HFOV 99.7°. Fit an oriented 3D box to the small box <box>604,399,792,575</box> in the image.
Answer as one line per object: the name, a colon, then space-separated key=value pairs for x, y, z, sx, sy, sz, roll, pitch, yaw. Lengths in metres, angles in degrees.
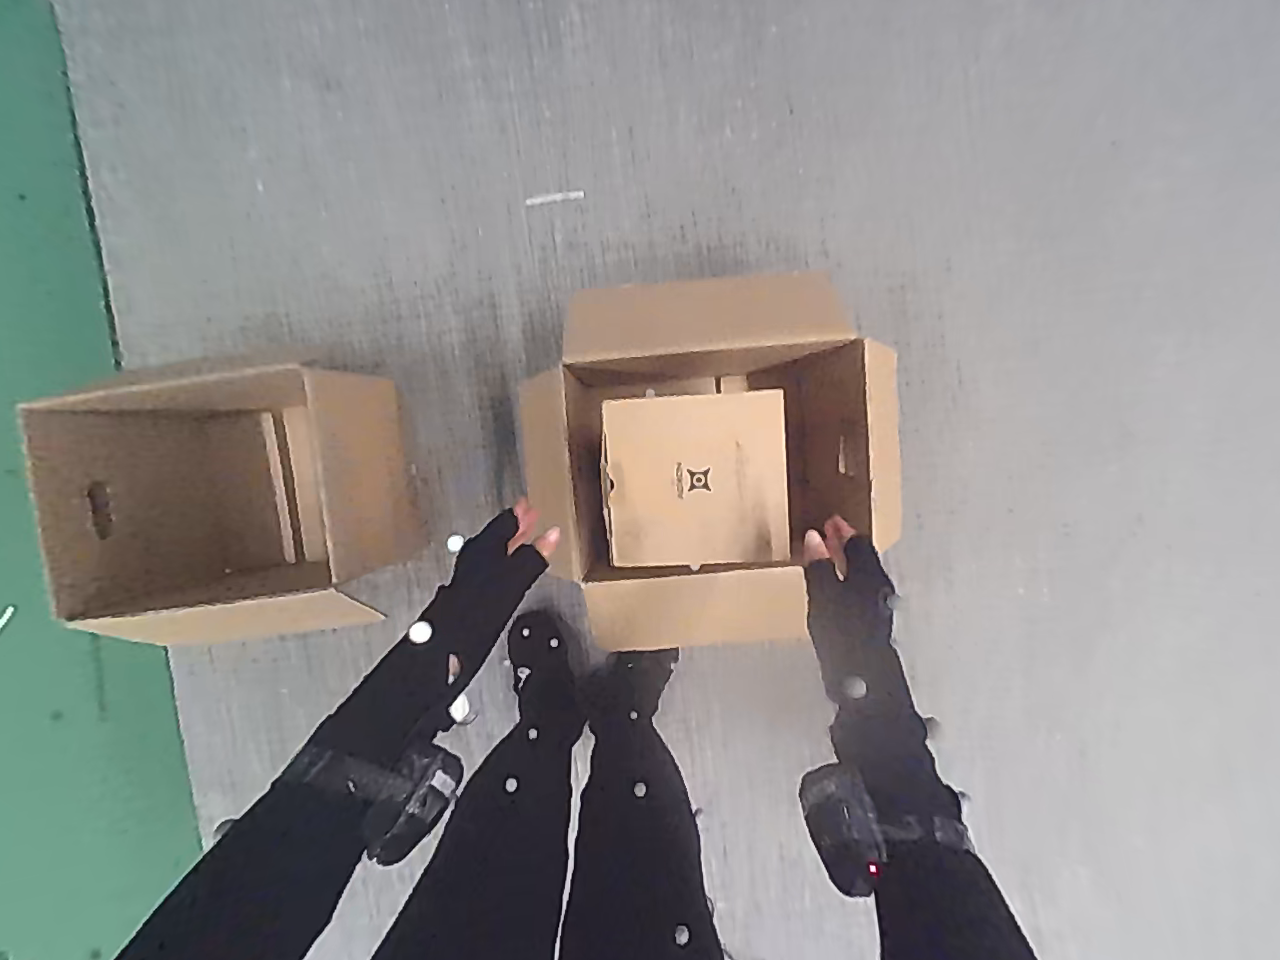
small box: x=0.061 y=0.003 z=0.605 sx=0.179 sy=0.176 sz=0.168 roll=-5 pitch=94 yaw=3
